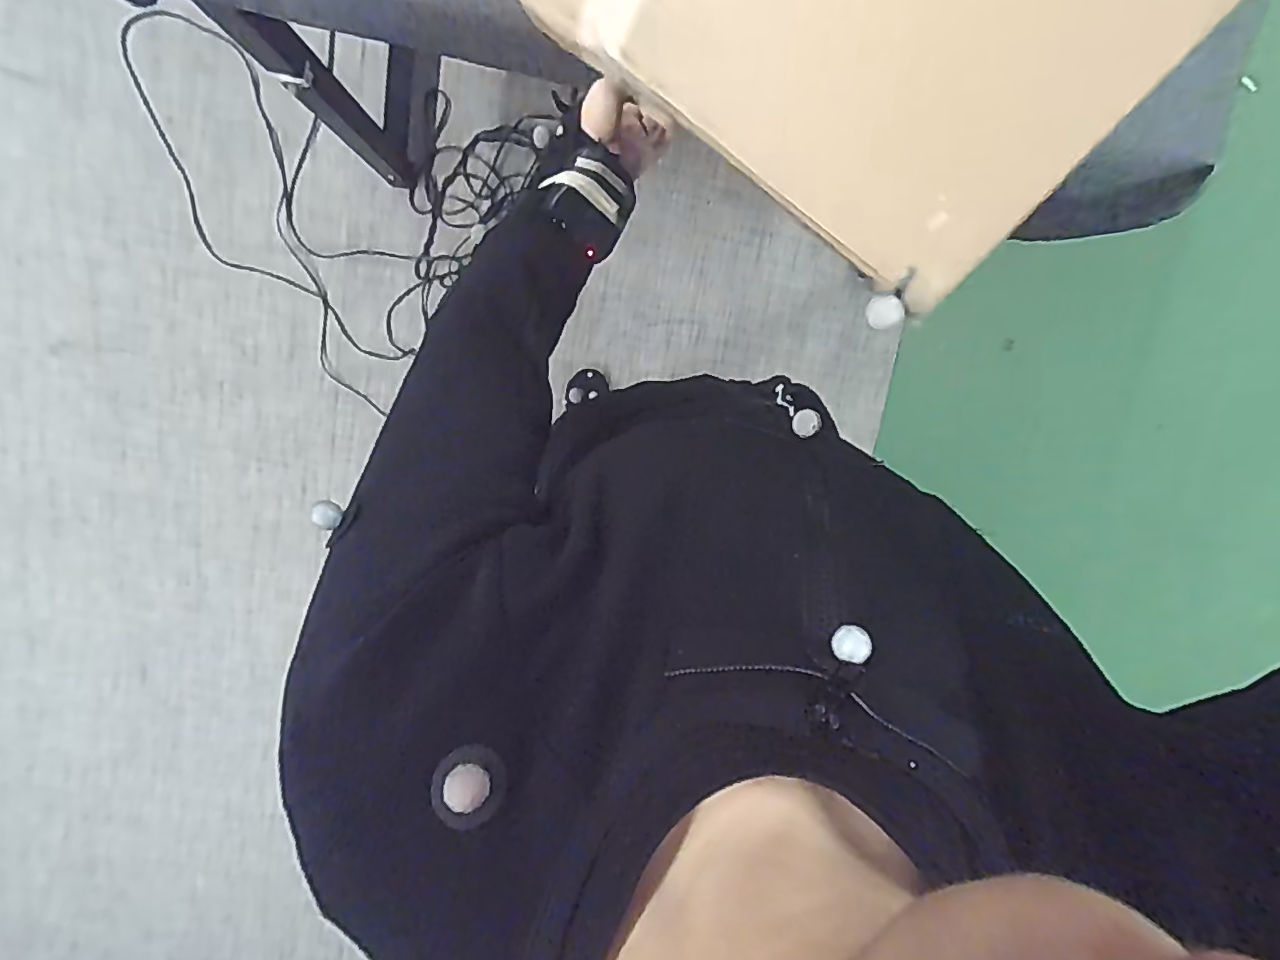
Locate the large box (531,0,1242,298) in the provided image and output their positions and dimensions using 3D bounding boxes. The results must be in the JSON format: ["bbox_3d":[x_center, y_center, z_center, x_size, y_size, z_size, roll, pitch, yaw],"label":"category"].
[{"bbox_3d":[0.161,-0.358,0.232,0.320,0.320,0.408,40,126,5],"label":"large box"}]
